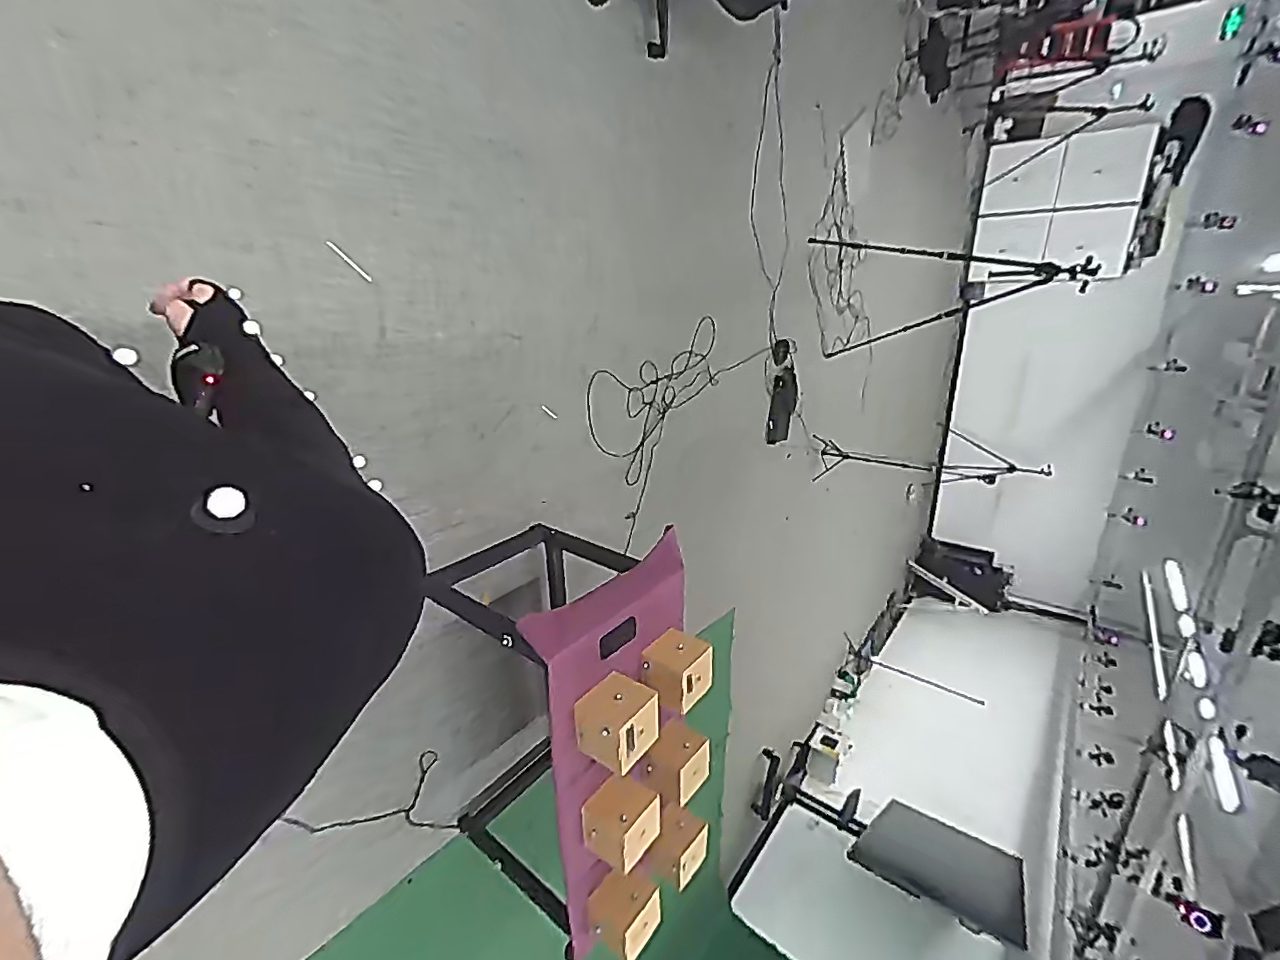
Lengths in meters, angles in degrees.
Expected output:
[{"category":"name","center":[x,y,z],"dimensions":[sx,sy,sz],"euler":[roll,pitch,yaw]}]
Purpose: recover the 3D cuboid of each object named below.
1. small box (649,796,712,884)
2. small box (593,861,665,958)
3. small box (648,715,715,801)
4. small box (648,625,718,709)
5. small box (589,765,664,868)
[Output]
[{"category":"small box","center":[0.152,1.337,2.024],"dimensions":[0.179,0.176,0.168],"euler":[-21,116,-47]},{"category":"small box","center":[-0.035,1.411,1.805],"dimensions":[0.179,0.176,0.168],"euler":[-24,118,-46]},{"category":"small box","center":[0.145,0.966,1.900],"dimensions":[0.179,0.176,0.168],"euler":[-22,117,-46]},{"category":"small box","center":[0.138,0.605,1.771],"dimensions":[0.179,0.176,0.168],"euler":[-24,119,-46]},{"category":"small box","center":[-0.041,1.038,1.685],"dimensions":[0.179,0.176,0.168],"euler":[-24,120,-46]}]
